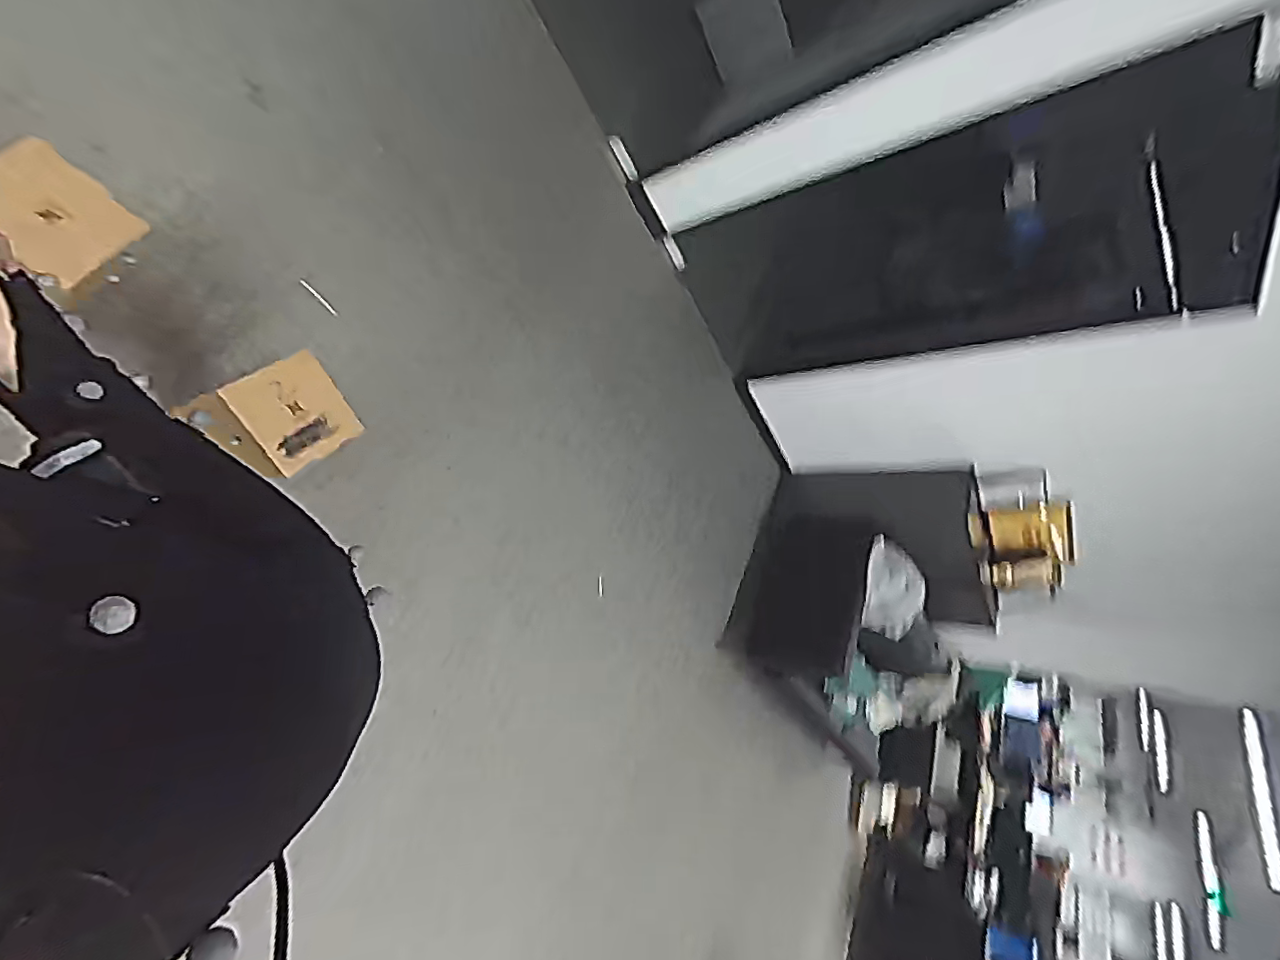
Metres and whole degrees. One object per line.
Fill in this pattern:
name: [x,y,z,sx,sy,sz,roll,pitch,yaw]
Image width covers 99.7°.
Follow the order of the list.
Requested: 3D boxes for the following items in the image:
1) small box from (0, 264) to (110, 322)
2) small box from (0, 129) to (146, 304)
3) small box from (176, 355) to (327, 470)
small box: [-1.103,-0.414,0.972,0.168,0.176,0.179,48,54,-39]
small box: [-0.972,-0.416,0.877,0.168,0.176,0.179,48,54,-39]
small box: [-0.792,-0.130,1.097,0.179,0.176,0.168,-50,126,-39]
